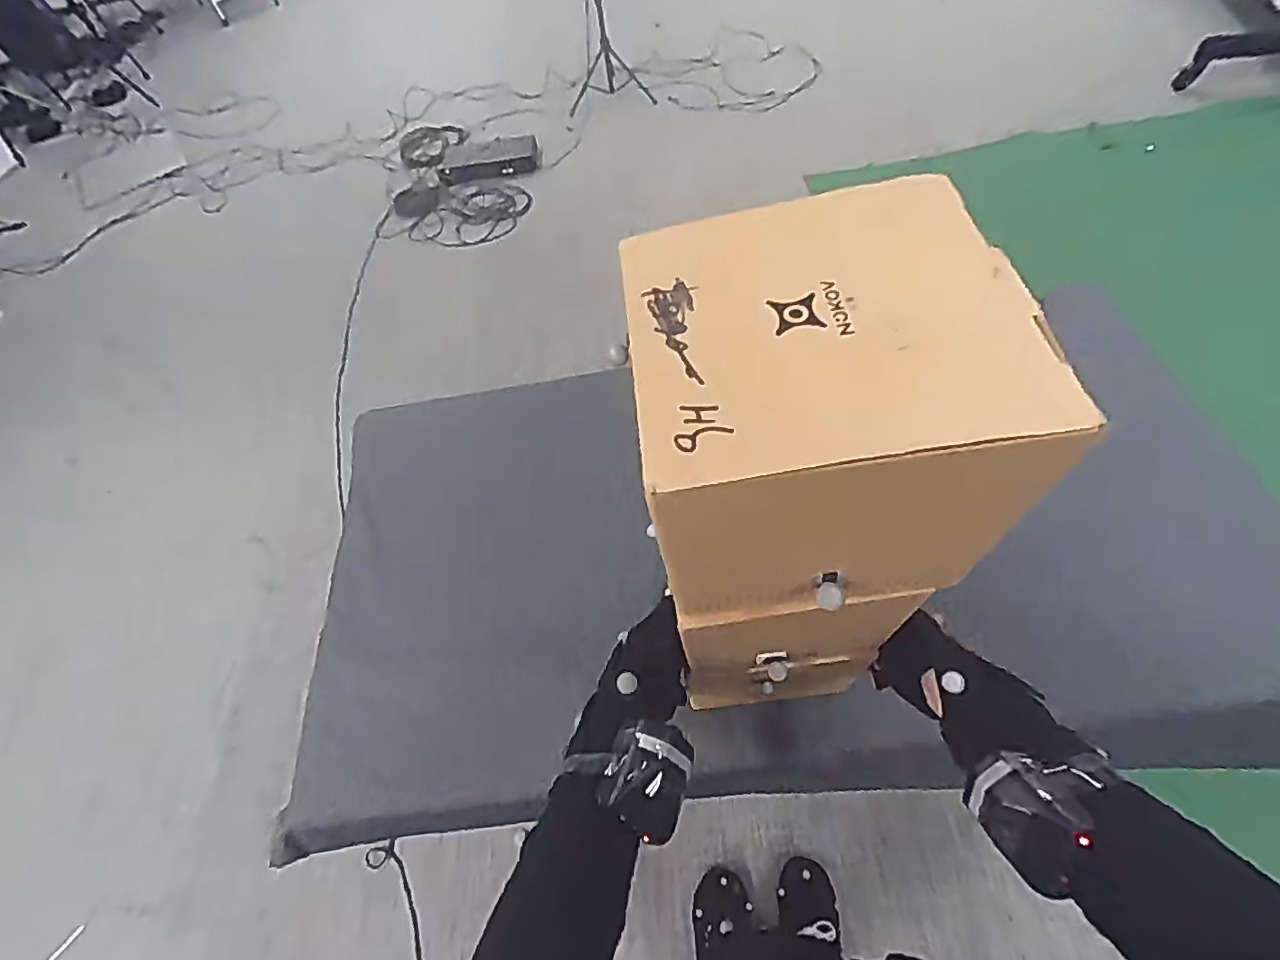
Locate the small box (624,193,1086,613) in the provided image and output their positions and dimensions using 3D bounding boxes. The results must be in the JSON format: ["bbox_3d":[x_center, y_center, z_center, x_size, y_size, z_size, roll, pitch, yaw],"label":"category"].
[{"bbox_3d":[0.093,-0.032,0.322,0.179,0.176,0.168,-9,57,4],"label":"small box"}]

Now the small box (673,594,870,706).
[{"bbox_3d":[0.131,0.150,0.609,0.179,0.176,0.168,-8,59,3],"label":"small box"}]

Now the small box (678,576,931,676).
[{"bbox_3d":[0.108,0.052,0.462,0.168,0.176,0.179,-11,59,4],"label":"small box"}]
